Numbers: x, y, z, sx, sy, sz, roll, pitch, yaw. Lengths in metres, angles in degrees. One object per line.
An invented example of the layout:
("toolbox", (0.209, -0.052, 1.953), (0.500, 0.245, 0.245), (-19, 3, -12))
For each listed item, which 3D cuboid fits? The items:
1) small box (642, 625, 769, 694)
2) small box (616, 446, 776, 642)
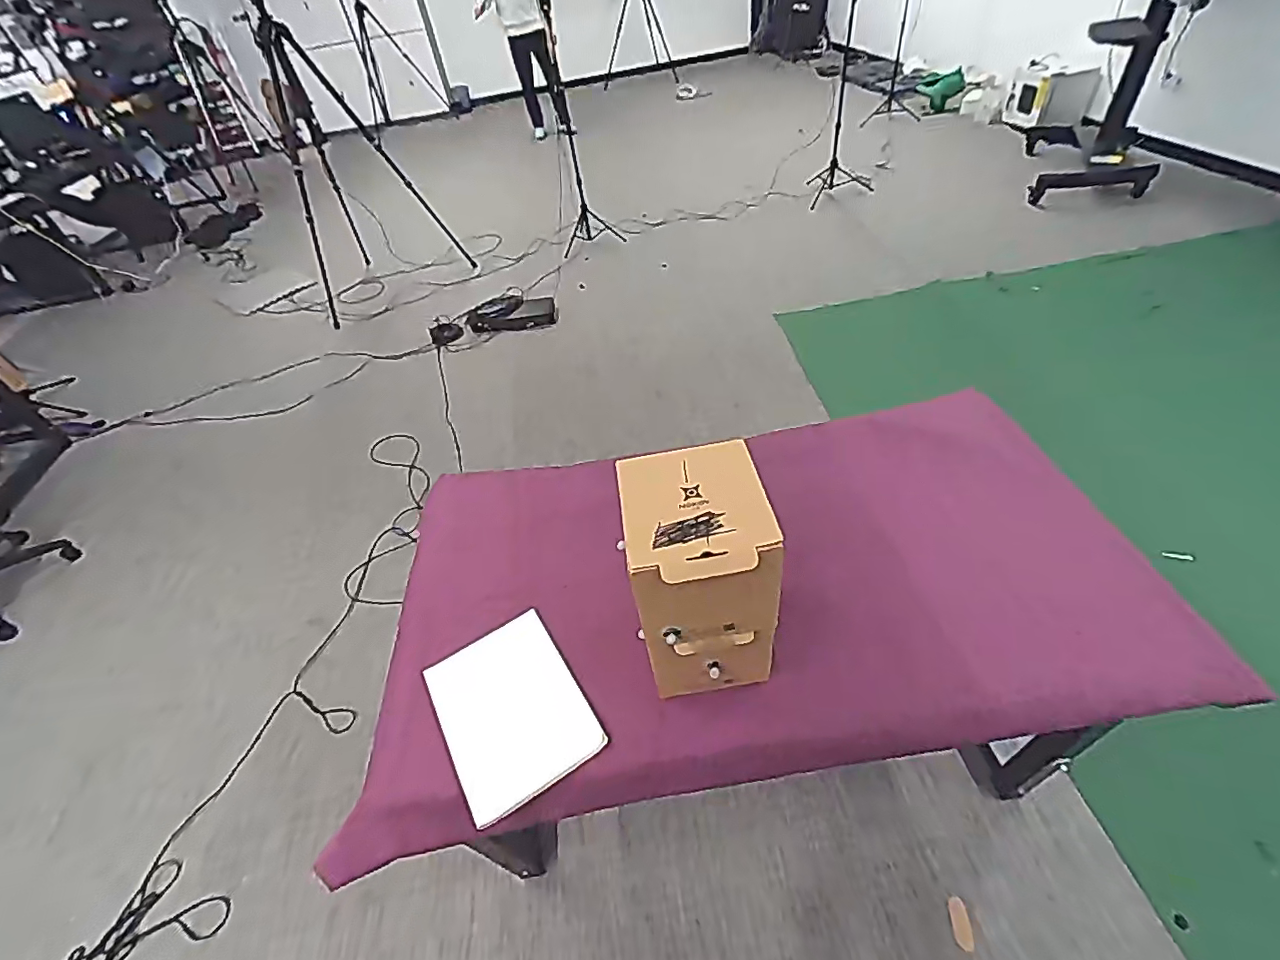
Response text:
("small box", (0.088, 0.199, 0.800), (0.168, 0.176, 0.179), (-9, 45, 0))
("small box", (0.068, 0.086, 0.680), (0.168, 0.176, 0.179), (-9, 43, 1))
